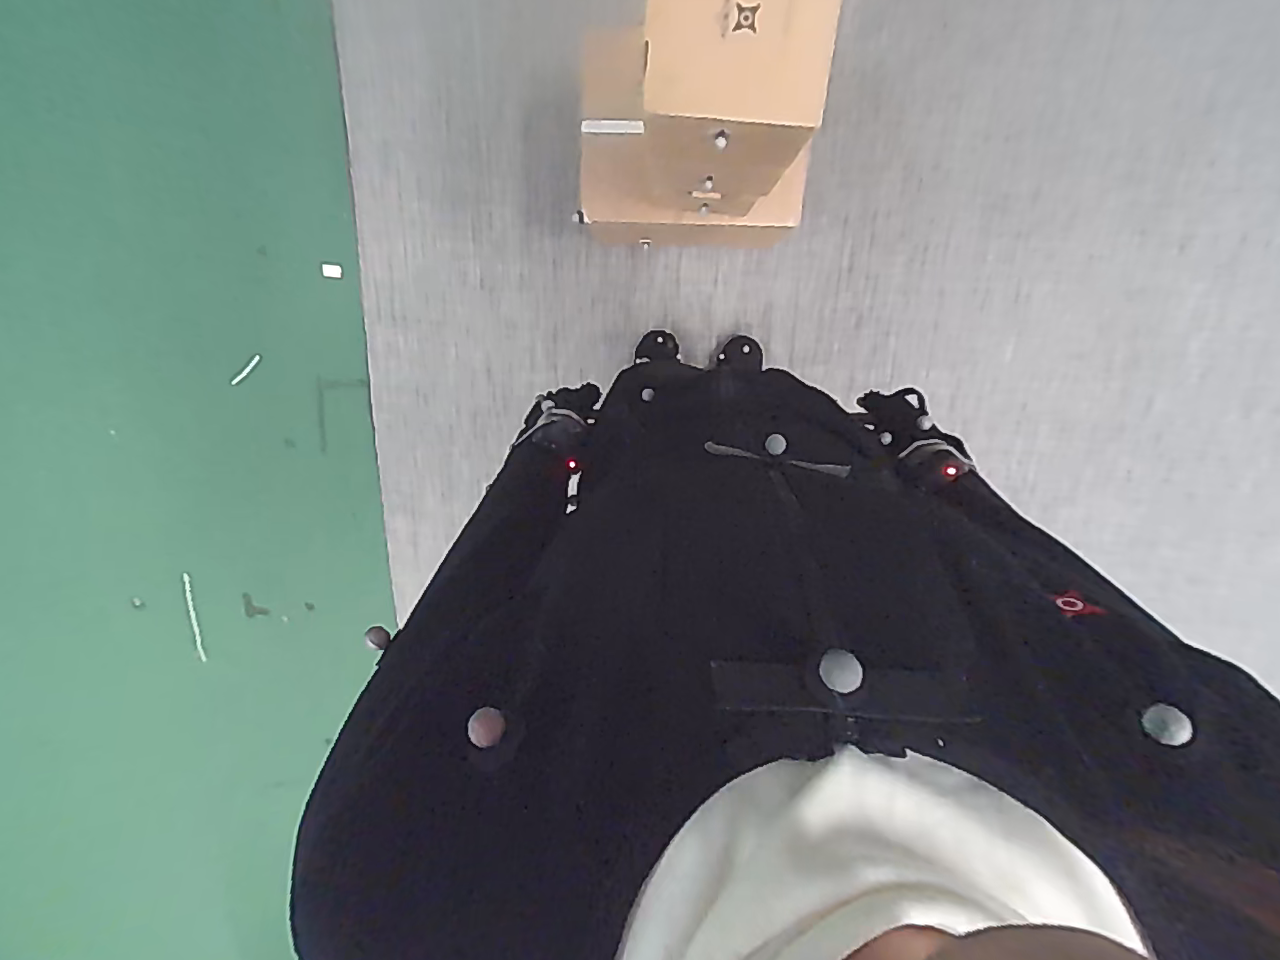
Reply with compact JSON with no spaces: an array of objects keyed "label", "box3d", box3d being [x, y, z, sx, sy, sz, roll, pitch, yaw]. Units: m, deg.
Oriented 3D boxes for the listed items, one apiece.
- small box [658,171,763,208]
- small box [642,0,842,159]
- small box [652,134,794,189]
[{"label":"small box","box3d":[0.125,-0.553,0.878,0.168,0.176,0.179,7,109,4]},{"label":"small box","box3d":[0.102,-0.452,0.569,0.179,0.176,0.168,6,109,3]},{"label":"small box","box3d":[0.116,-0.500,0.722,0.179,0.176,0.168,7,108,5]}]
